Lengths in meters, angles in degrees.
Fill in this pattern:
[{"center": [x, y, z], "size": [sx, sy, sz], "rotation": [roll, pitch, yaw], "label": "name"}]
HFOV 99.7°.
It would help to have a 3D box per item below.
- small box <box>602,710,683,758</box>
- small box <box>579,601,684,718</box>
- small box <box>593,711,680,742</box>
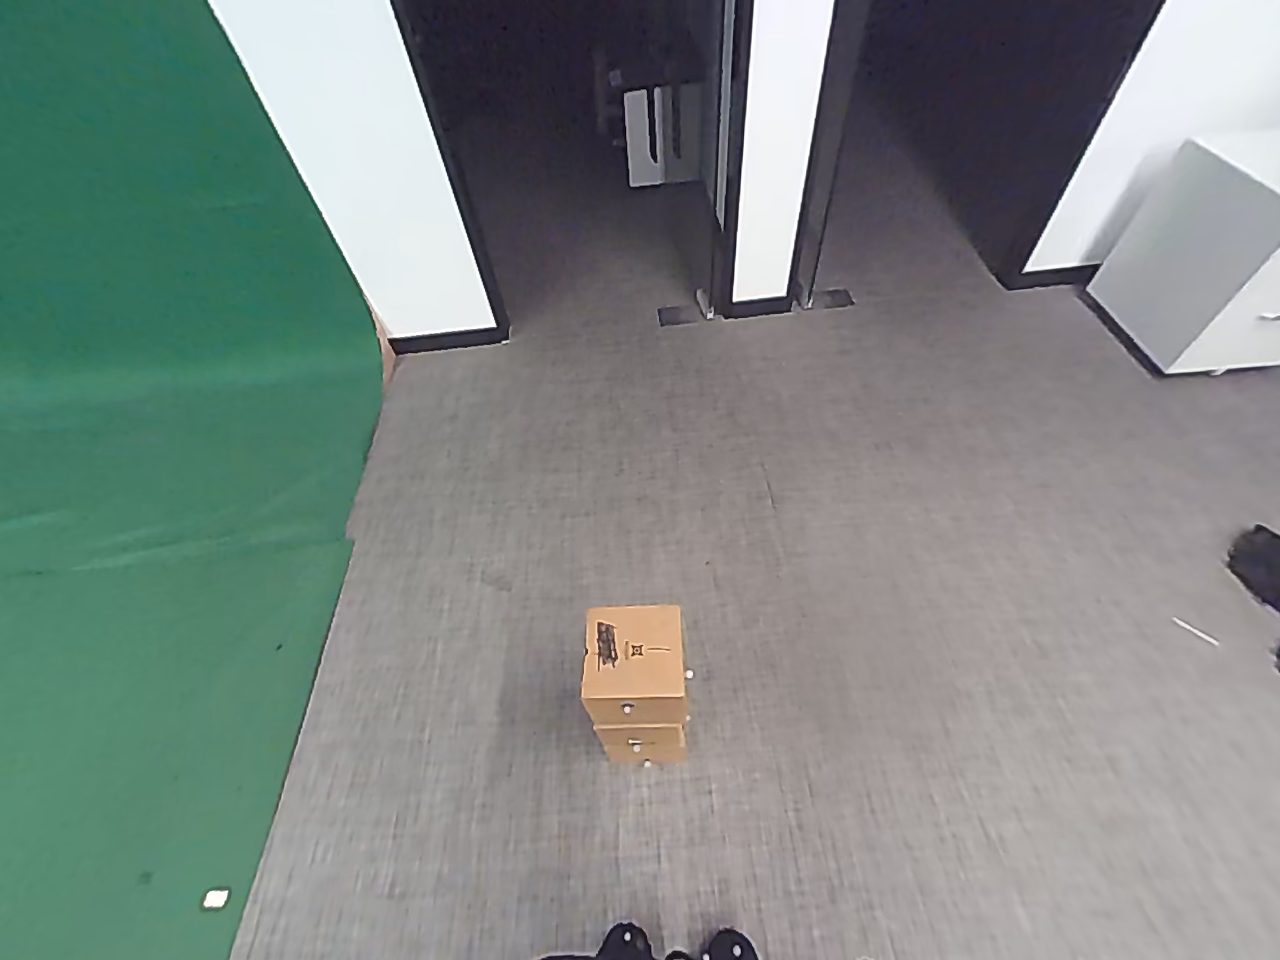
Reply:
[{"center": [0.010, 0.547, 1.274], "size": [0.179, 0.176, 0.168], "rotation": [-2, 52, 3], "label": "small box"}, {"center": [-0.009, 0.342, 1.020], "size": [0.179, 0.176, 0.168], "rotation": [-3, 52, 4], "label": "small box"}, {"center": [-0.003, 0.443, 1.150], "size": [0.168, 0.176, 0.179], "rotation": [-4, 53, 4], "label": "small box"}]
